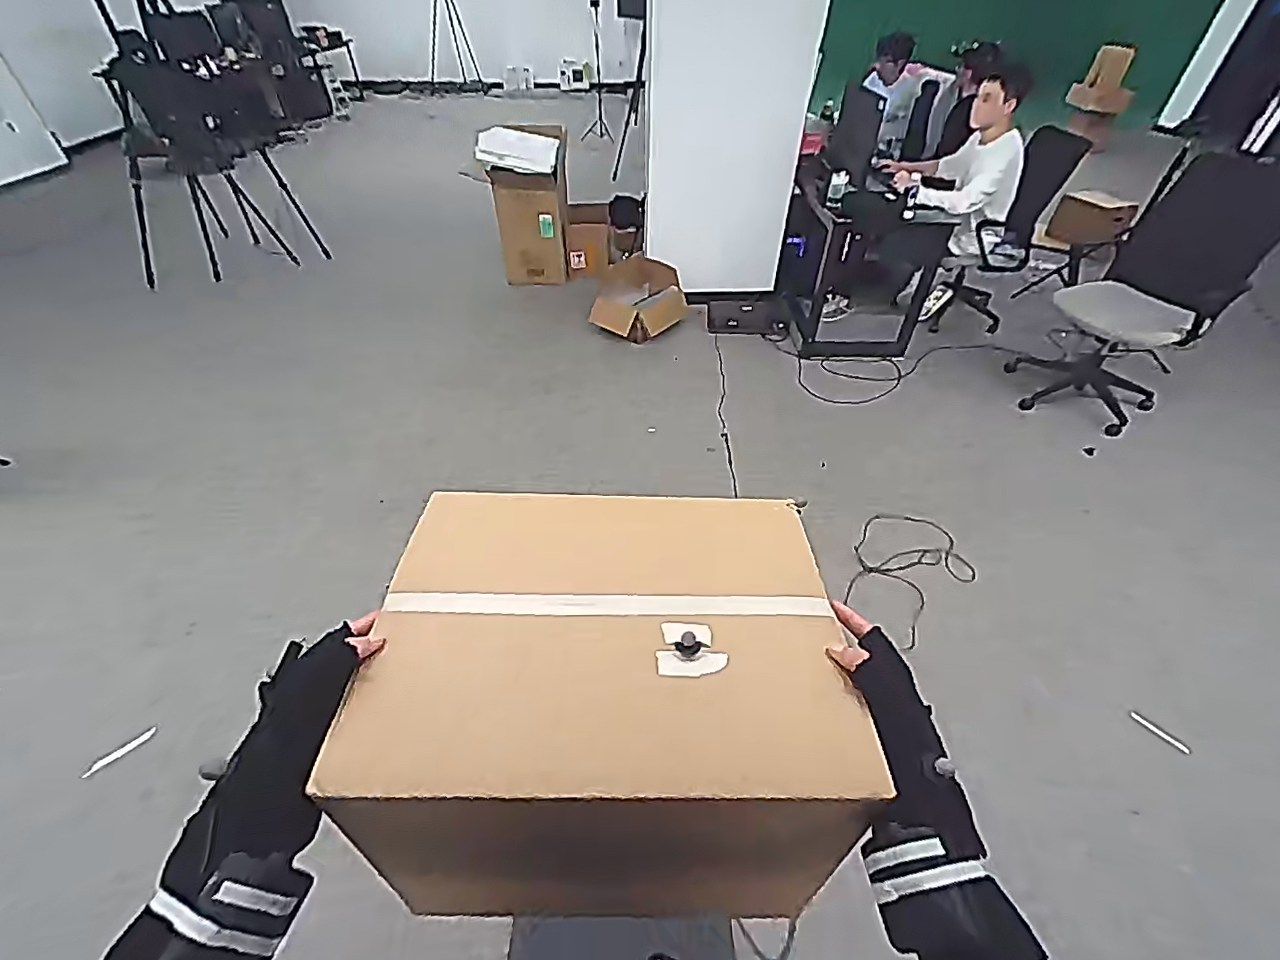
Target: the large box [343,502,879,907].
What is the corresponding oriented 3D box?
[{"bbox_3d":[-0.027,0.240,0.601,0.408,0.320,0.320,2,39,-2],"label":"large box"}]
